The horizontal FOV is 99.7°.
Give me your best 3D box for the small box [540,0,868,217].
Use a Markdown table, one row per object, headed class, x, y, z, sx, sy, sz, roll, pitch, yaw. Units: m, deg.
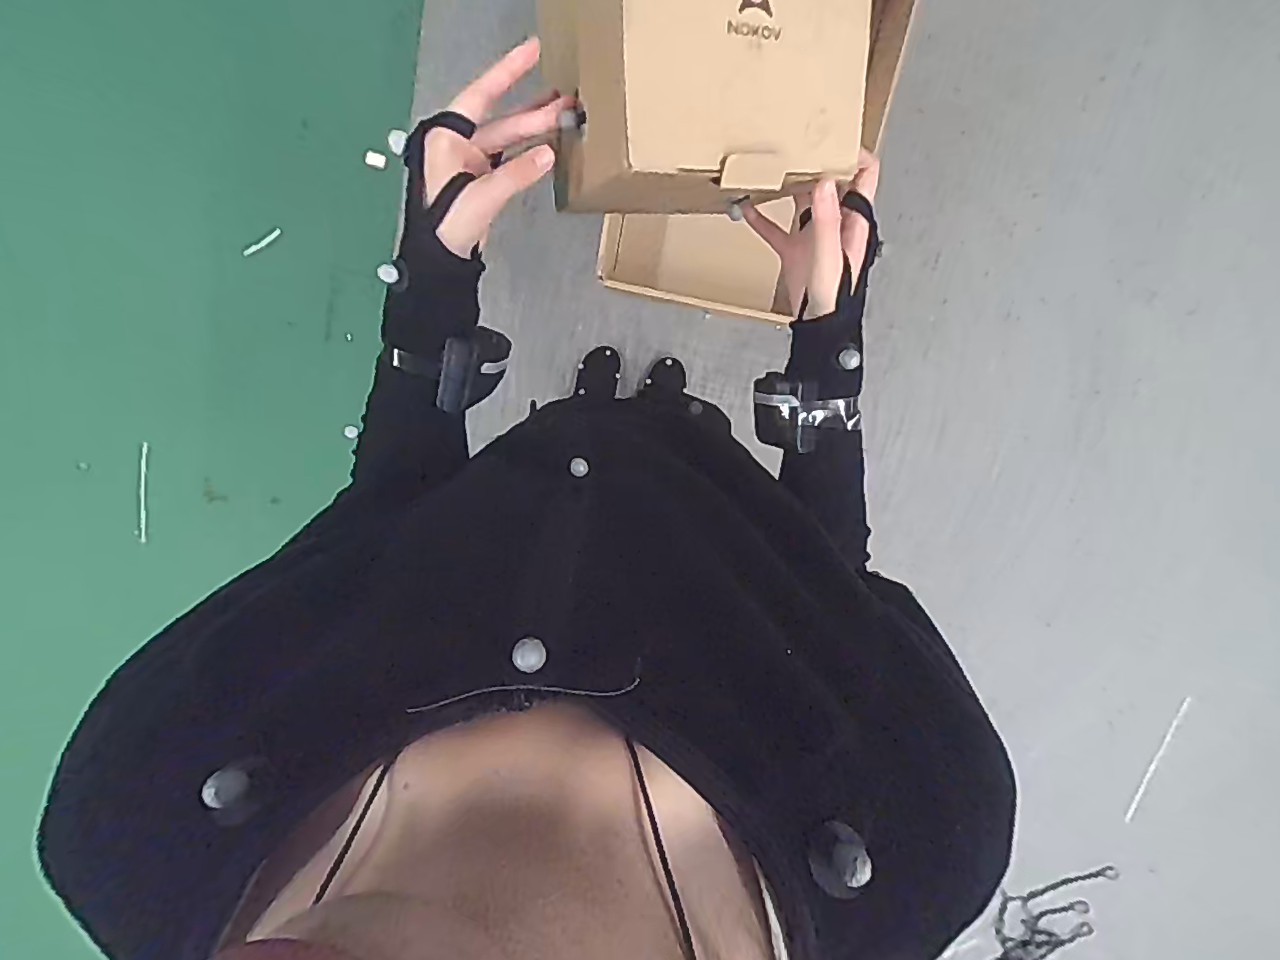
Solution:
| class | x | y | z | sx | sy | sz | roll | pitch | yaw |
| --- | --- | --- | --- | --- | --- | --- | --- | --- | --- |
| small box | 0.033 | -0.289 | 0.378 | 0.168 | 0.176 | 0.179 | -10 | 110 | -22 |
